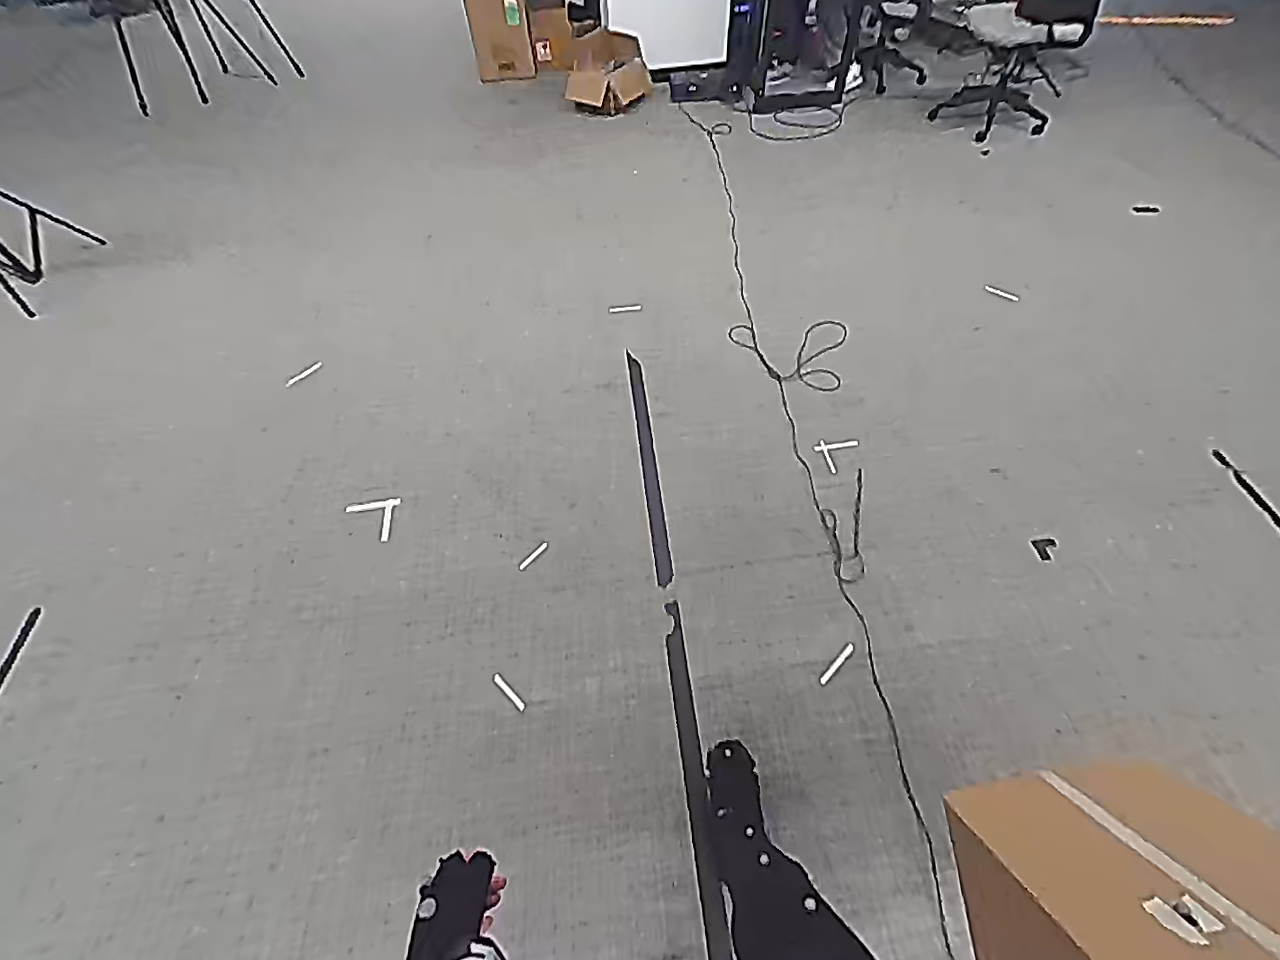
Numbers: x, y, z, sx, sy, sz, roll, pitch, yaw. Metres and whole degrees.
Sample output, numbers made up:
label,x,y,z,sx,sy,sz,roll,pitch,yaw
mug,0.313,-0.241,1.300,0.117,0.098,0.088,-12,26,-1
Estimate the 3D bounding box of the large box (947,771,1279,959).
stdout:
label,x,y,z,sx,sy,sz,roll,pitch,yaw
large box,0.634,0.610,0.618,0.320,0.408,0.320,-11,90,1
